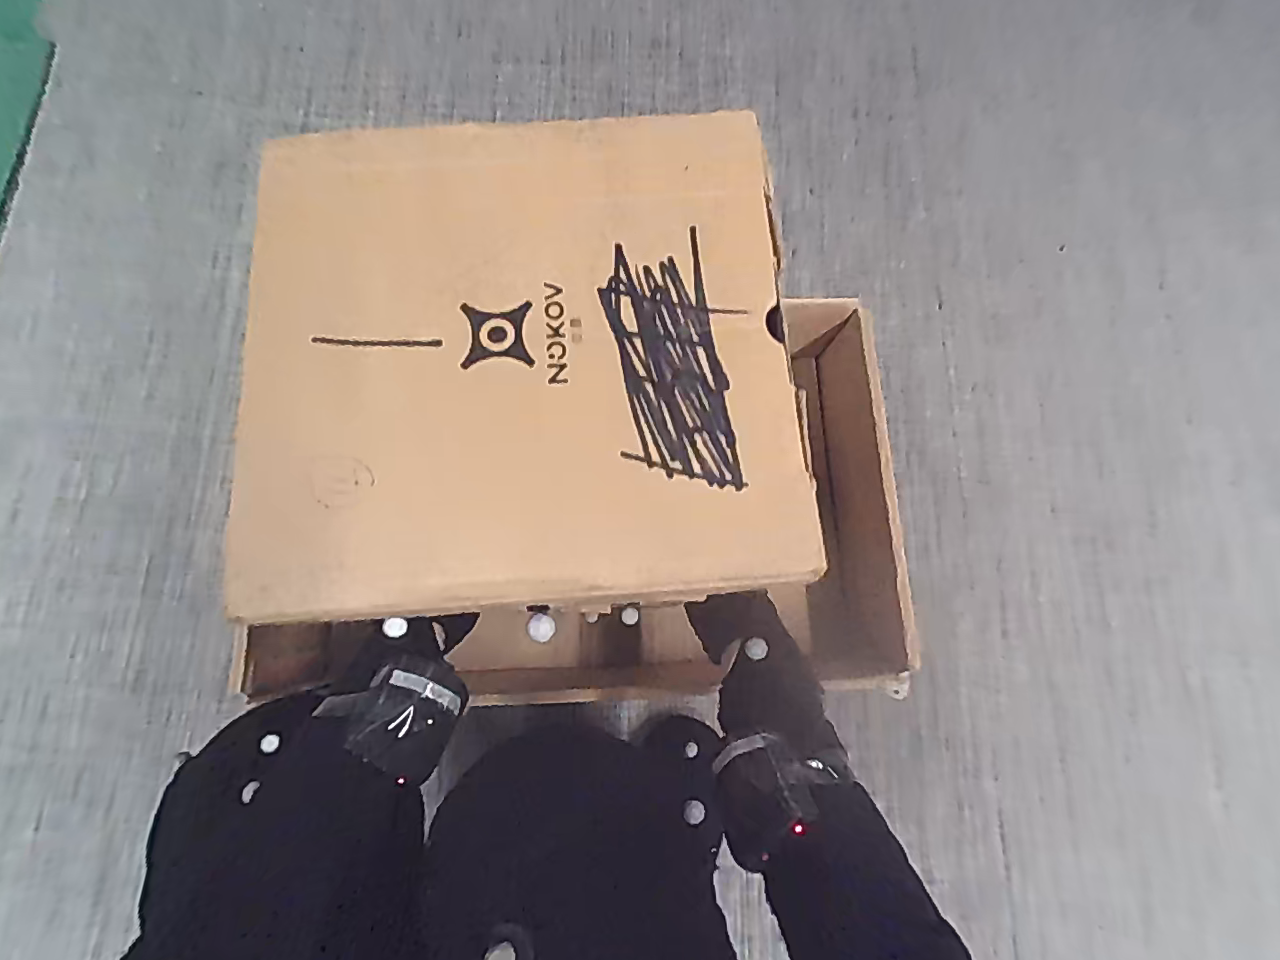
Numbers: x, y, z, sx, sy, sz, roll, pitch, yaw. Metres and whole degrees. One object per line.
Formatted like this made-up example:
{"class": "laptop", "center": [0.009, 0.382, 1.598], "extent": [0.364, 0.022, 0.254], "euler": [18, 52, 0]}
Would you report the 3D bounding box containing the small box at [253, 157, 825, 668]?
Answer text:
{"class": "small box", "center": [-0.040, -0.016, 0.257], "extent": [0.179, 0.176, 0.168], "euler": [-7, 78, -4]}
